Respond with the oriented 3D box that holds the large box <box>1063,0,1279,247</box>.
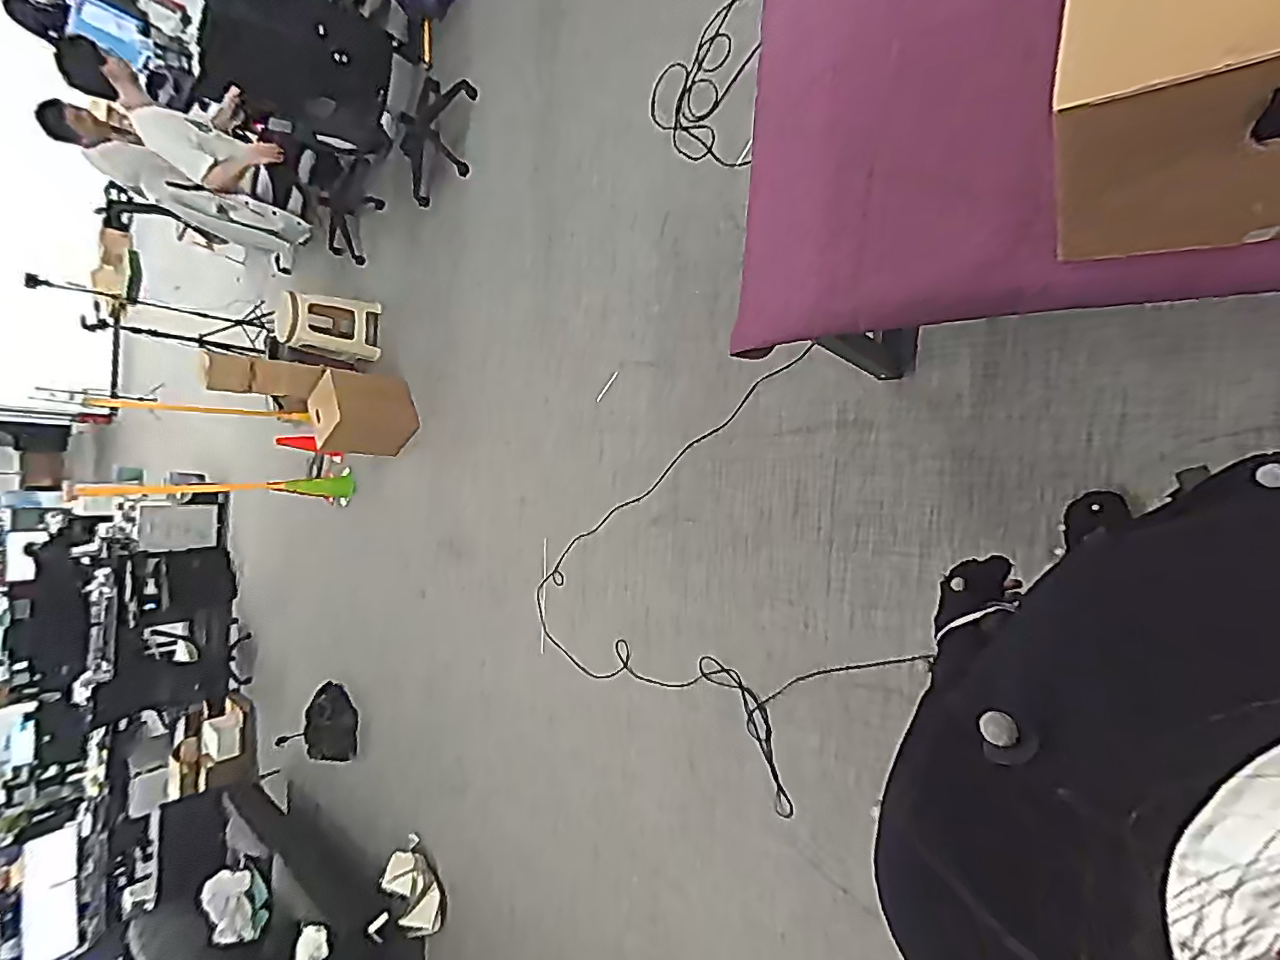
[{"bbox_3d":[0.539,-0.451,0.410,0.320,0.320,0.408,8,94,38],"label":"large box"}]
